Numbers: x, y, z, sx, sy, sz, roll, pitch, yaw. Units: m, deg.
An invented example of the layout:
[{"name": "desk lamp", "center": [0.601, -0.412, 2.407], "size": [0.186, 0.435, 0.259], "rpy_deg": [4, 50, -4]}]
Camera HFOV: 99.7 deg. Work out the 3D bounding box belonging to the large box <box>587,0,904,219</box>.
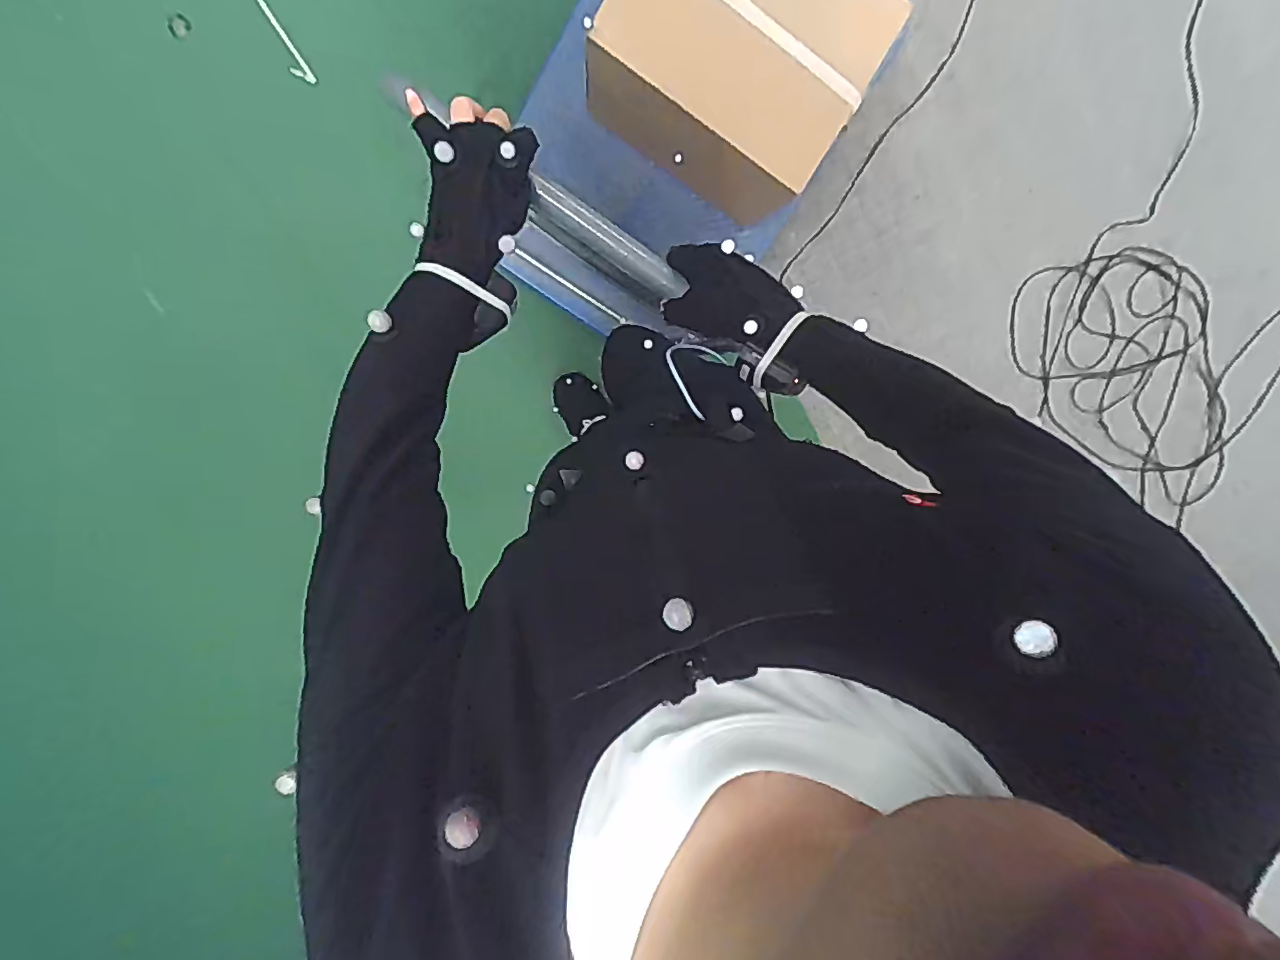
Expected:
[{"name": "large box", "center": [0.155, -0.737, 0.966], "size": [0.408, 0.320, 0.320], "rpy_deg": [29, 101, -12]}]
